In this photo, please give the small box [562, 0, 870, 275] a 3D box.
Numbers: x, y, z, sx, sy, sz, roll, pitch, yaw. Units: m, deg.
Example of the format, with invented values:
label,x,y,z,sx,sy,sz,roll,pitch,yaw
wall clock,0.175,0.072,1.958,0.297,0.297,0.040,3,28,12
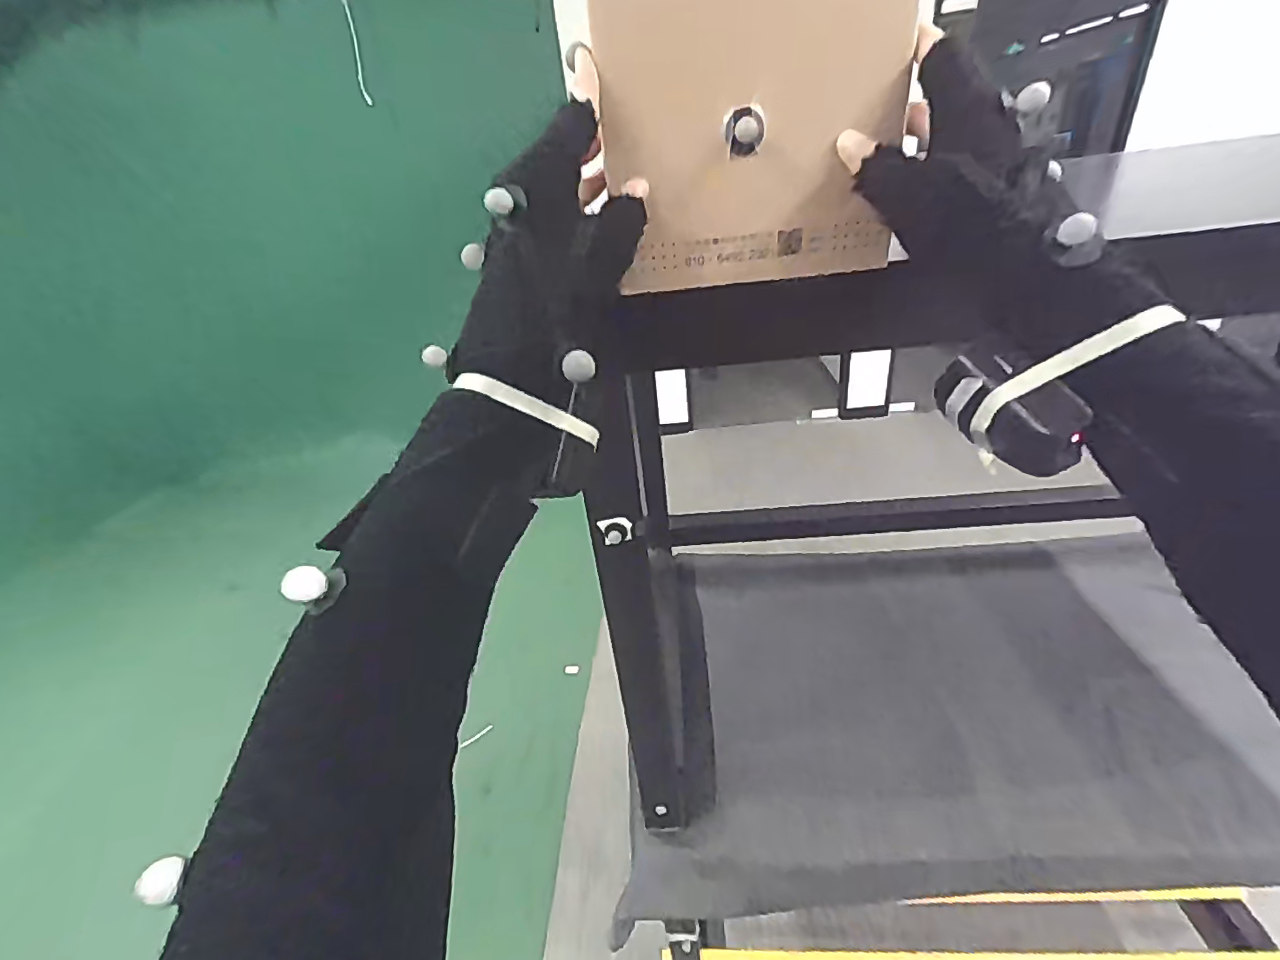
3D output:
label,x,y,z,sx,sy,sz,roll,pitch,yaw
small box,0.049,-0.245,0.376,0.168,0.176,0.179,-5,30,3
